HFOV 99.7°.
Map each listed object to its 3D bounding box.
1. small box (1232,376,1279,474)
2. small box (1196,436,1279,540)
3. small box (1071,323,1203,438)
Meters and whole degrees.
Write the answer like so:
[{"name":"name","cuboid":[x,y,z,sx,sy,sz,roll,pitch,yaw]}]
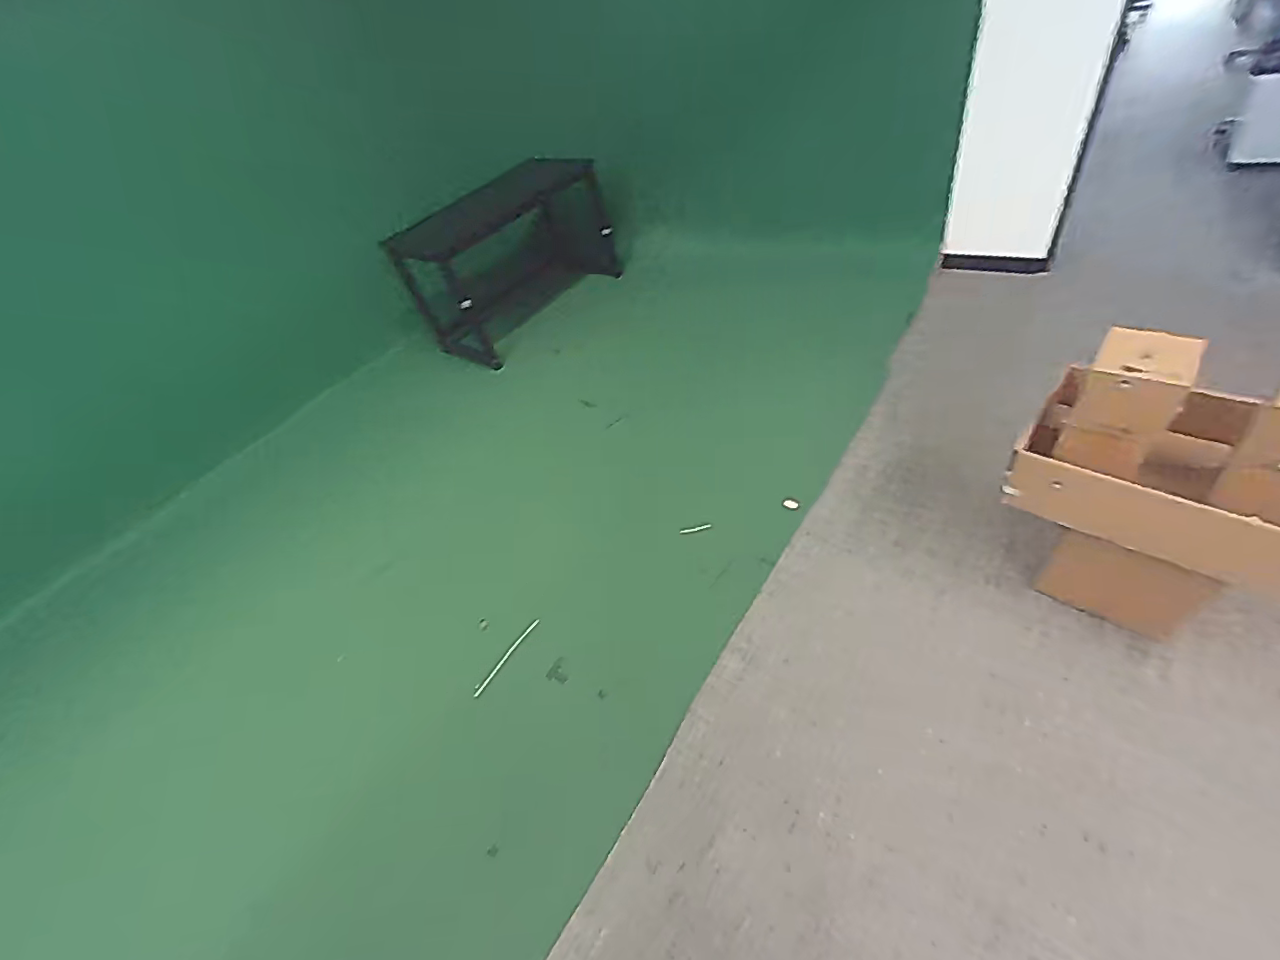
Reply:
[{"name":"small box","cuboid":[1.326,-0.117,1.057,0.179,0.176,0.168,-42,49,-22]},{"name":"small box","cuboid":[1.367,-0.005,1.168,0.179,0.176,0.168,-41,49,-21]},{"name":"small box","cuboid":[1.118,-0.228,1.228,0.168,0.176,0.179,24,58,35]}]
